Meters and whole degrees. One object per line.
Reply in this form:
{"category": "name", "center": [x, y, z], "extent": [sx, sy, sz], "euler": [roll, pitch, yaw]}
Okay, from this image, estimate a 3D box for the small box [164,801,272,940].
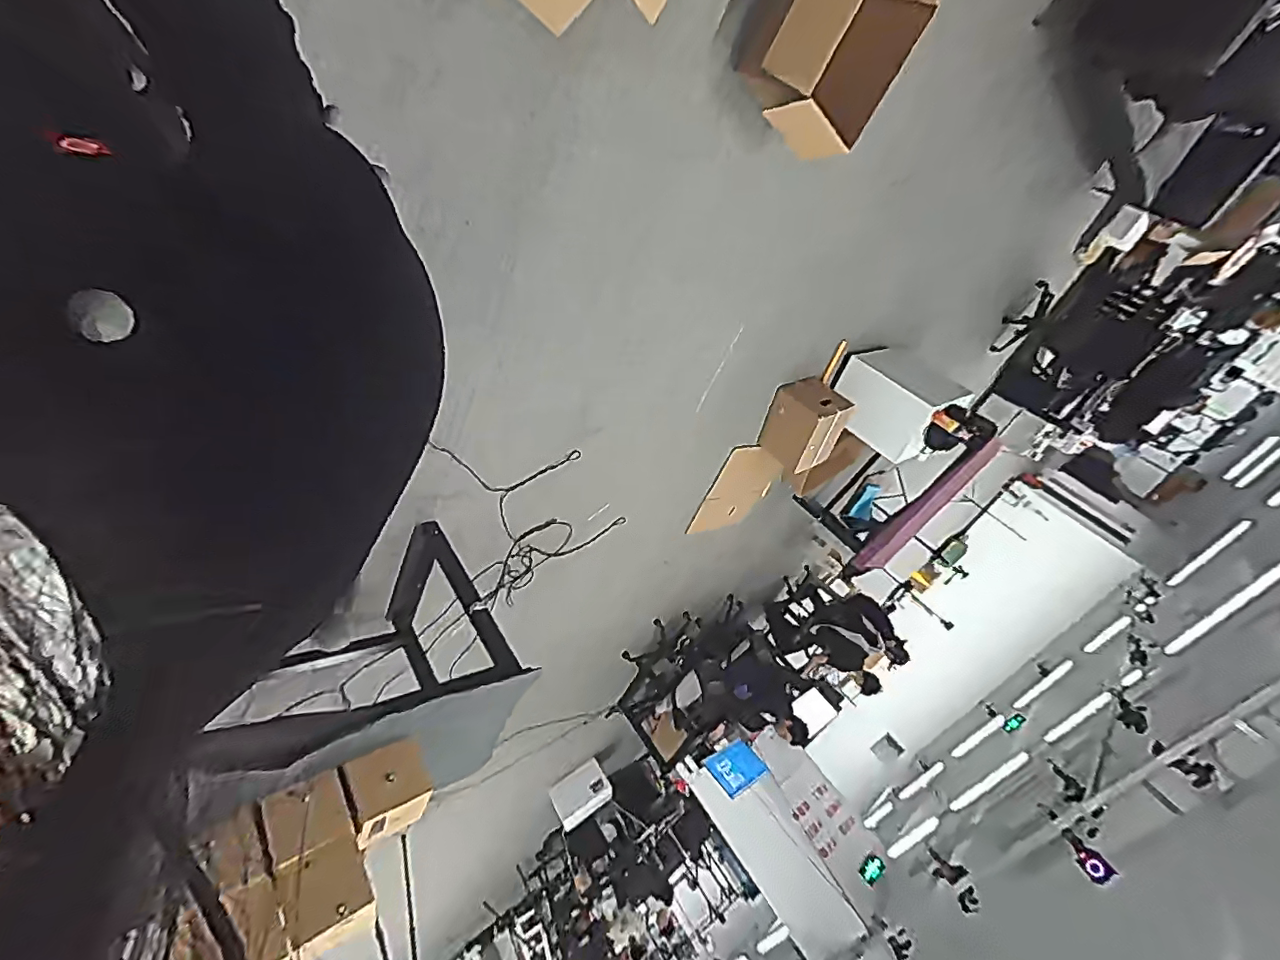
{"category": "small box", "center": [-0.954, 0.870, 1.220], "extent": [0.168, 0.176, 0.179], "euler": [-7, 134, -45]}
